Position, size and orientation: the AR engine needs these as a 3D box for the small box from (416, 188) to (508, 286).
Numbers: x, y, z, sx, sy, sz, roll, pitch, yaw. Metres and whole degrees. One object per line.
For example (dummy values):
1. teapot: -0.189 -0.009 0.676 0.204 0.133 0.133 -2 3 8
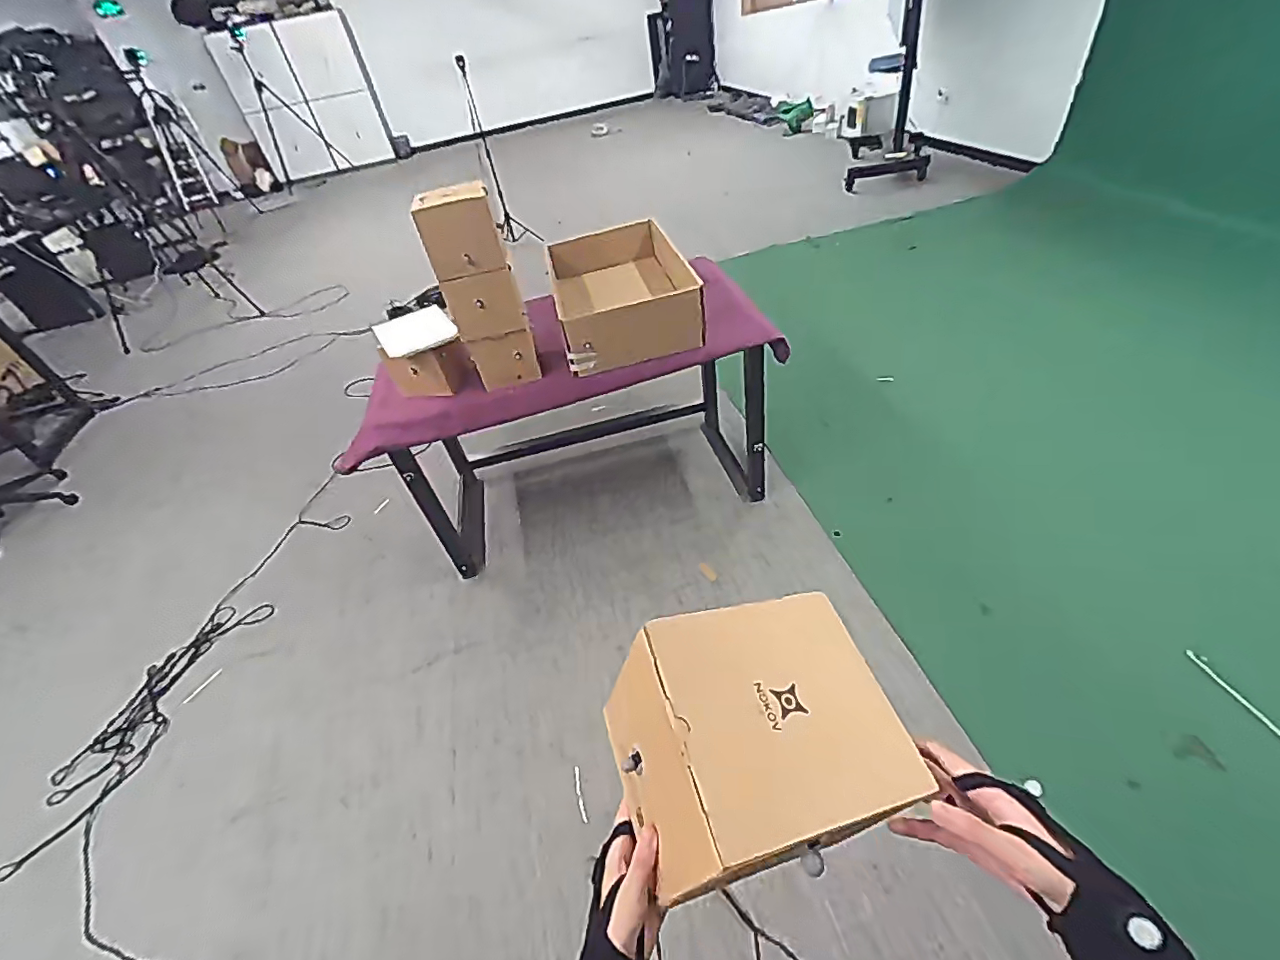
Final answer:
1. small box: -0.433 -0.606 1.349 0.179 0.176 0.168 -14 40 -4

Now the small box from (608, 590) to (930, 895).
1. small box: 0.085 0.216 0.453 0.179 0.176 0.168 -5 48 -20

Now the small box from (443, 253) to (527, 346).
1. small box: -0.409 -0.485 1.457 0.179 0.176 0.168 -14 41 -3

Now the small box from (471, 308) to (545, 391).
1. small box: -0.380 -0.373 1.573 0.168 0.176 0.179 -14 41 -3
